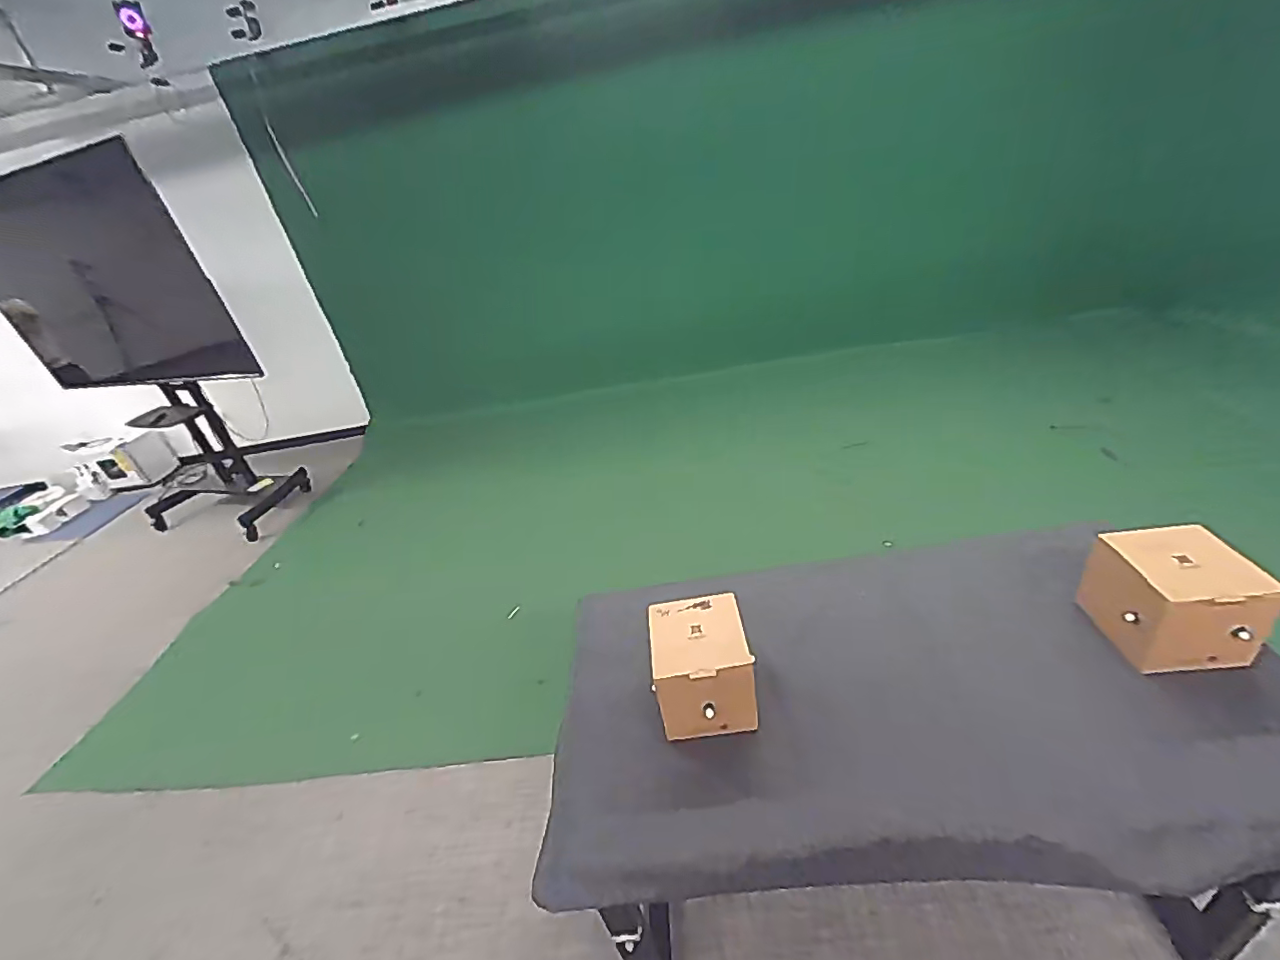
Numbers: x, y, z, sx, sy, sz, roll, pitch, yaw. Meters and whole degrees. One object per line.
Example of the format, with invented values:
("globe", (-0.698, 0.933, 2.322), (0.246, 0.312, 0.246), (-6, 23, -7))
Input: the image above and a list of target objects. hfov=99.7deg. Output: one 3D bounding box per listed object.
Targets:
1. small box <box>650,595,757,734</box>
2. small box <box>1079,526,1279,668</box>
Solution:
("small box", (0.114, 0.341, 0.988), (0.168, 0.176, 0.179), (-9, 30, 3))
("small box", (0.908, 0.204, 0.928), (0.168, 0.176, 0.179), (-7, 29, 7))
